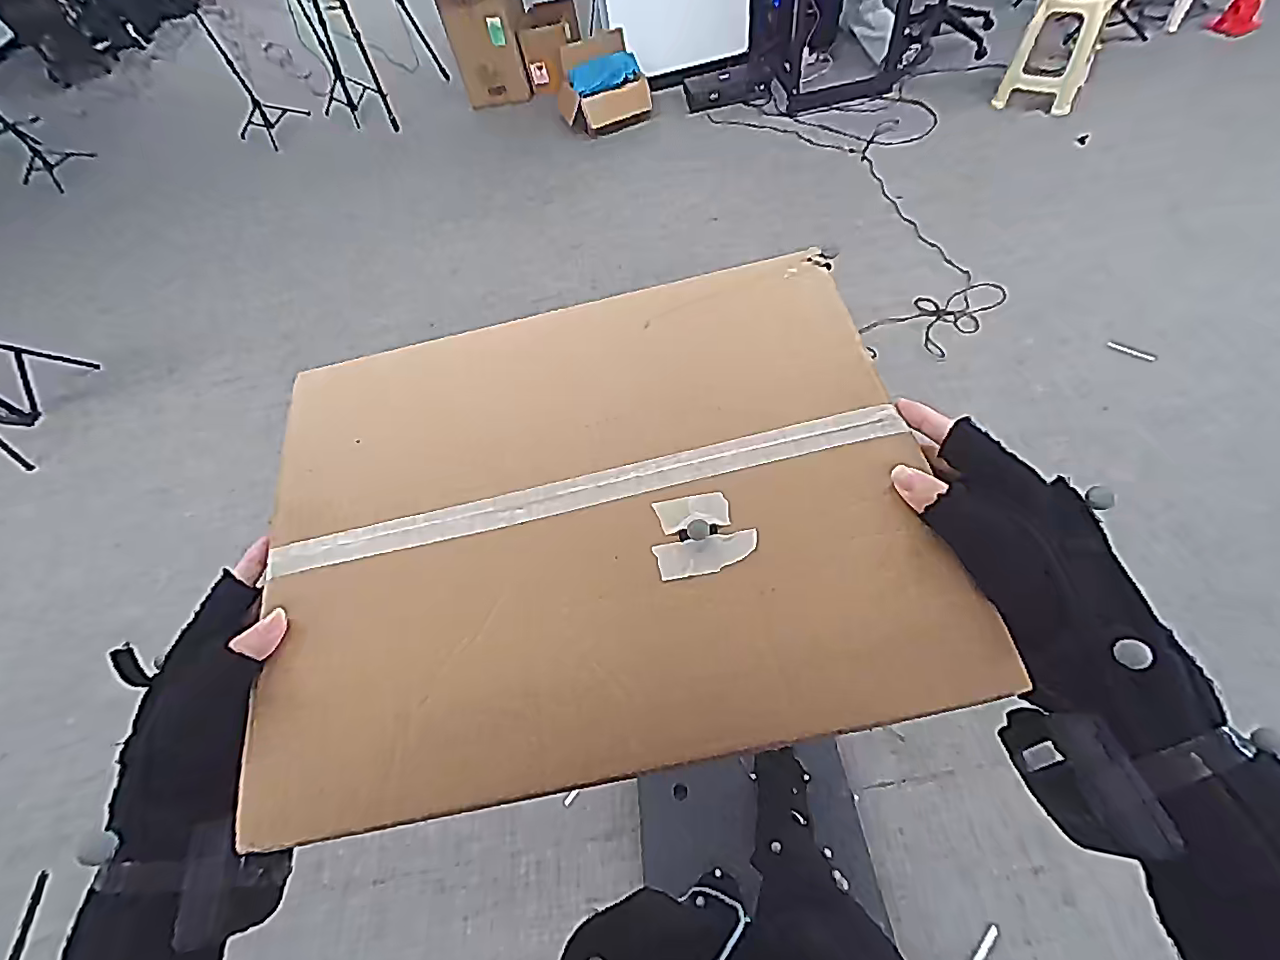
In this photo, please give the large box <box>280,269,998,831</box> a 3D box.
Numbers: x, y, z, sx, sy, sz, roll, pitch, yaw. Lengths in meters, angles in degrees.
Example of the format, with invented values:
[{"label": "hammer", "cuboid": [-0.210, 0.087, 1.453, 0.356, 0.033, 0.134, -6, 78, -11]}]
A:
[{"label": "large box", "cuboid": [-0.013, 0.079, 0.486, 0.408, 0.320, 0.320, -13, 63, 2]}]
